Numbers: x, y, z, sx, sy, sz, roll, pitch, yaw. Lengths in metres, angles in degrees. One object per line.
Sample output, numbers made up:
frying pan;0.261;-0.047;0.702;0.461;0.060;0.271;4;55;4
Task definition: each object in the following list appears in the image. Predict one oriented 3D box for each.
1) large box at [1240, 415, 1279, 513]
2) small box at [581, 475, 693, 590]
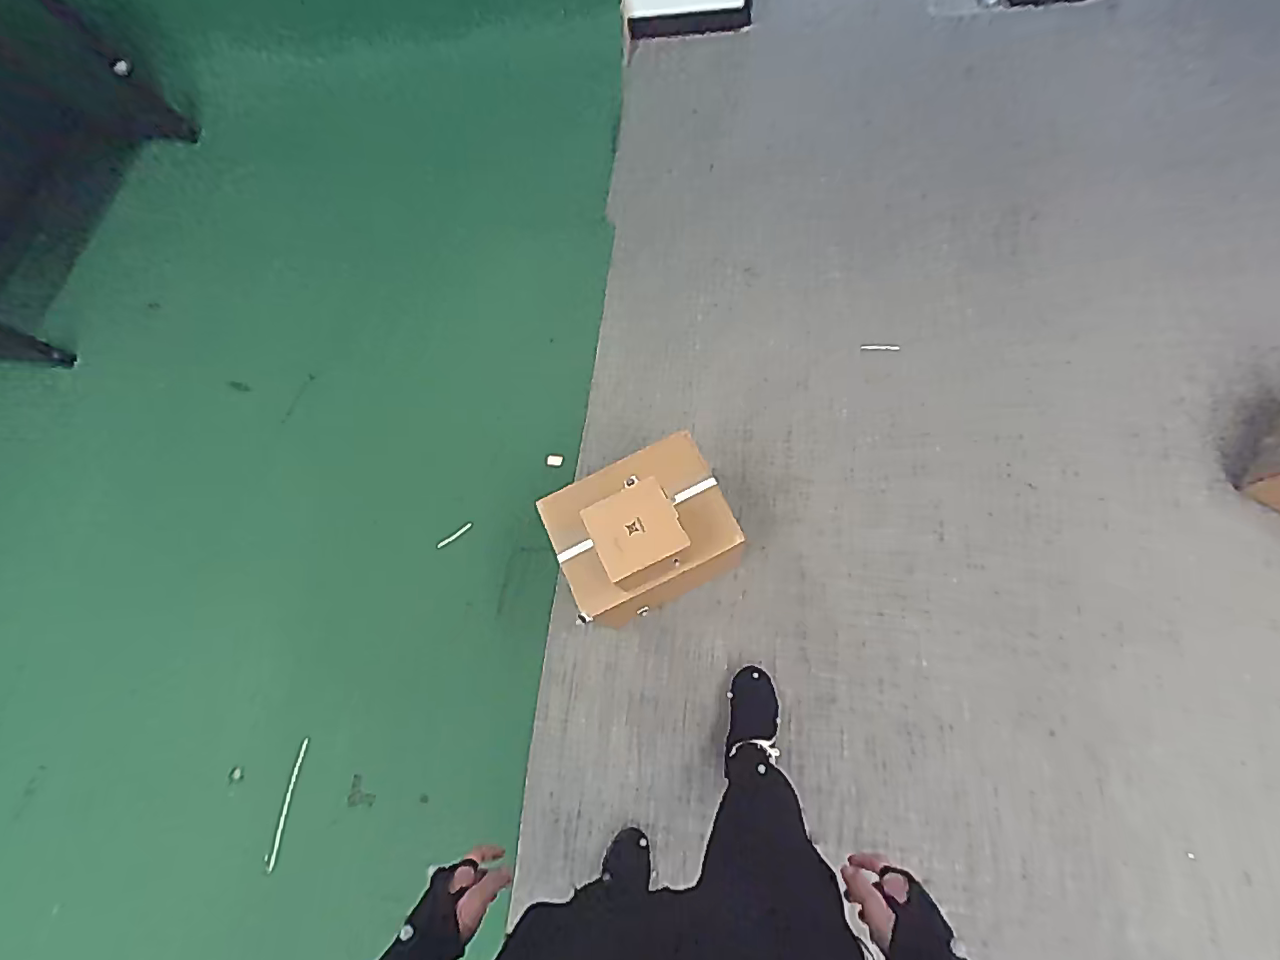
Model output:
large box;1.725;-0.026;1.182;0.408;0.320;0.320;35;79;18
small box;0.001;0.115;1.133;0.179;0.176;0.168;-26;70;0
